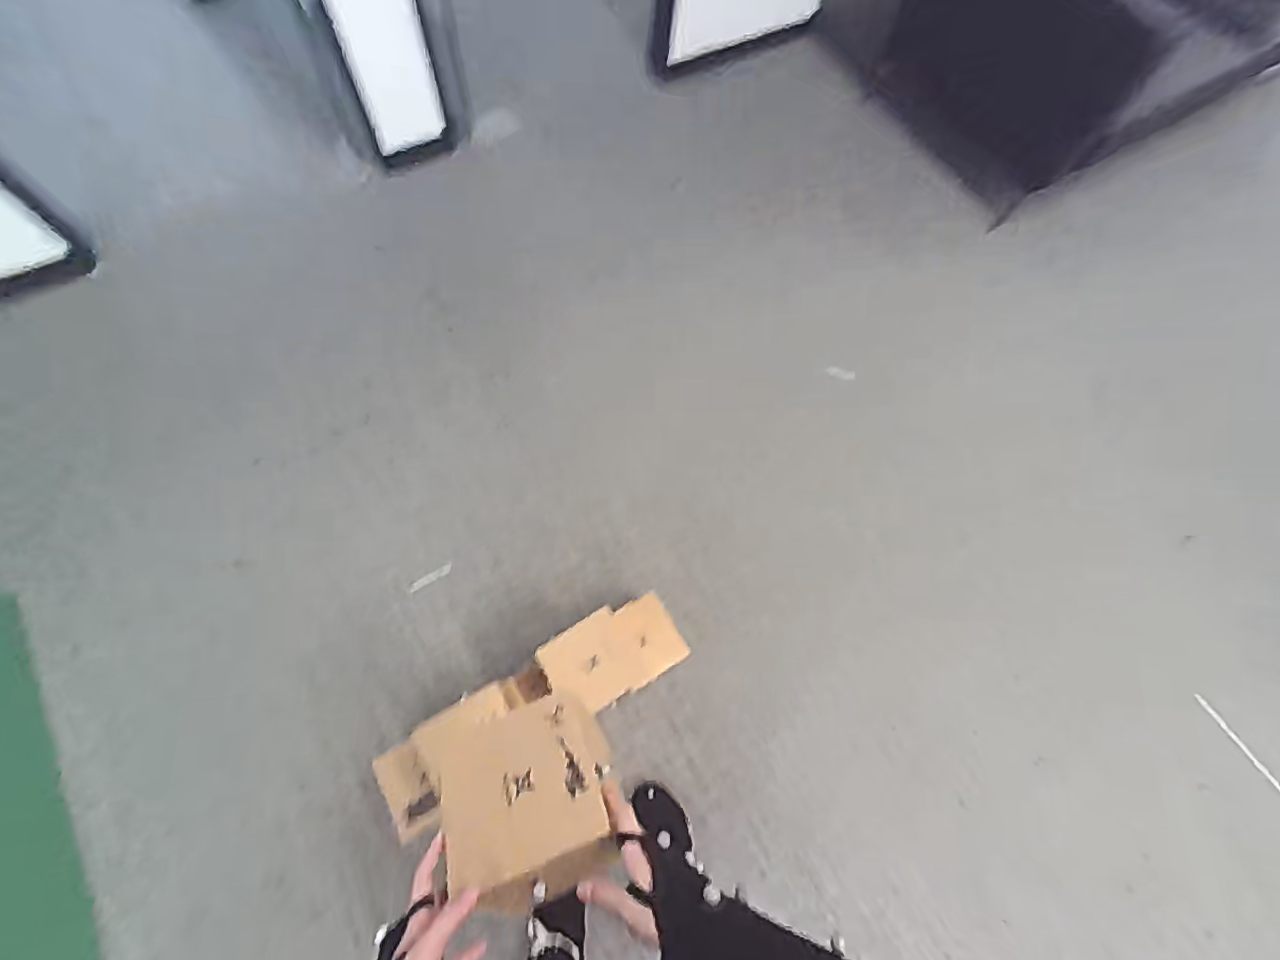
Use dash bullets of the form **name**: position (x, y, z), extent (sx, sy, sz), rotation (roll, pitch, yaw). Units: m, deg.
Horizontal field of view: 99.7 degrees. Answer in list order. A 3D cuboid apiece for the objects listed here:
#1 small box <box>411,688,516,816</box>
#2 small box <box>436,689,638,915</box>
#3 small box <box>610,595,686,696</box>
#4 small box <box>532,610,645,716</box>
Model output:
- **small box**: position (-0.323, 0.536, 1.080), extent (0.179, 0.176, 0.168), rotation (-27, 72, -15)
- **small box**: position (-0.120, 0.390, 0.650), extent (0.179, 0.176, 0.168), rotation (-22, 47, -6)
- **small box**: position (-0.008, 0.414, 1.343), extent (0.168, 0.176, 0.179), rotation (-29, 73, -16)
- **small box**: position (-0.110, 0.407, 1.157), extent (0.179, 0.176, 0.168), rotation (-30, 74, -18)
